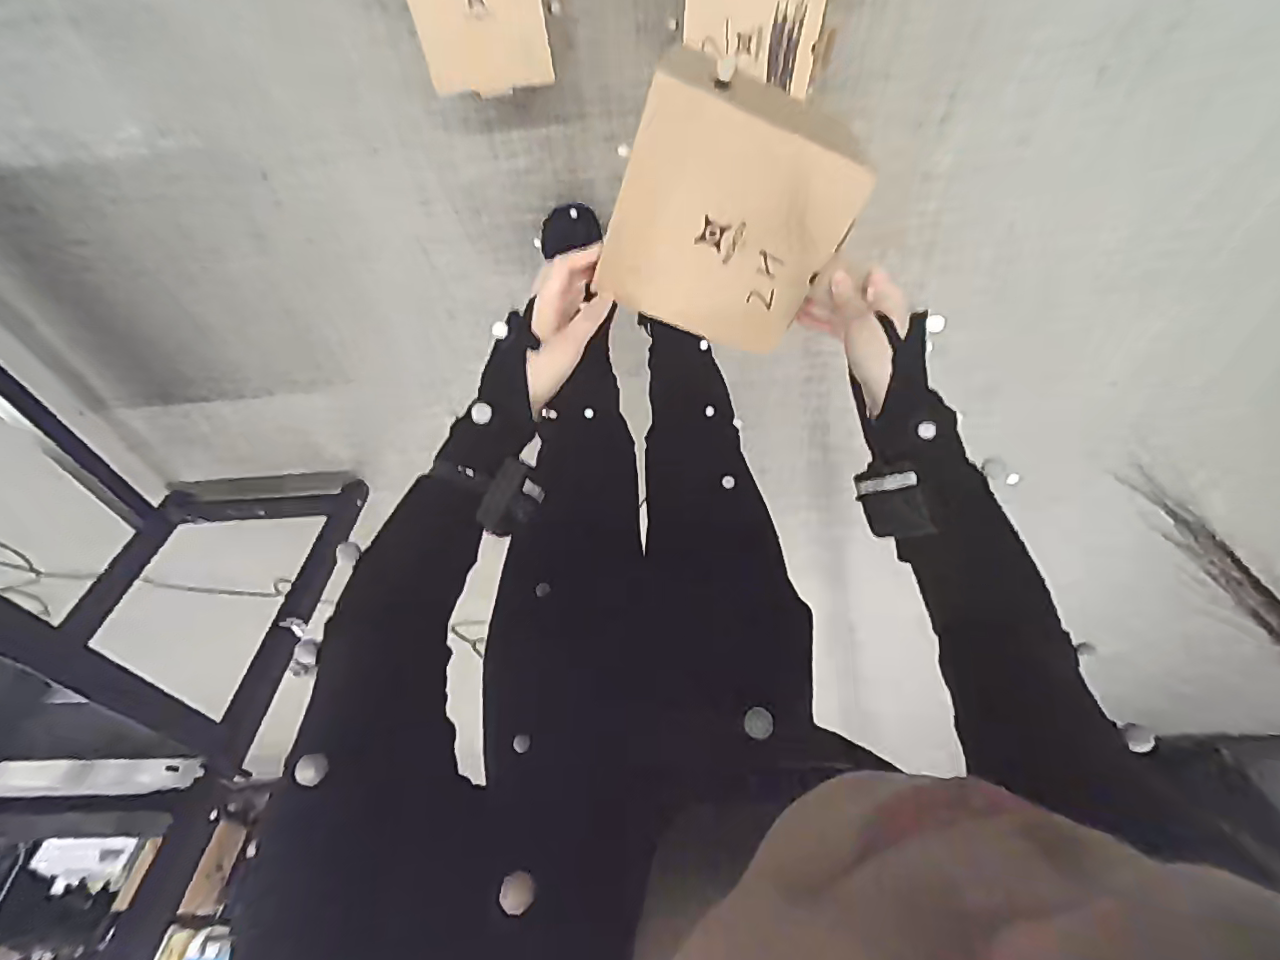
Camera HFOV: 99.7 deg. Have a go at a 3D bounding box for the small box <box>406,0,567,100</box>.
[{"bbox_3d":[-0.197,-0.629,0.710,0.168,0.176,0.179,-4,136,5],"label":"small box"}]

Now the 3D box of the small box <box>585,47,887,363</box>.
[{"bbox_3d":[0.070,-0.236,0.462,0.179,0.176,0.168,18,135,-9],"label":"small box"}]
